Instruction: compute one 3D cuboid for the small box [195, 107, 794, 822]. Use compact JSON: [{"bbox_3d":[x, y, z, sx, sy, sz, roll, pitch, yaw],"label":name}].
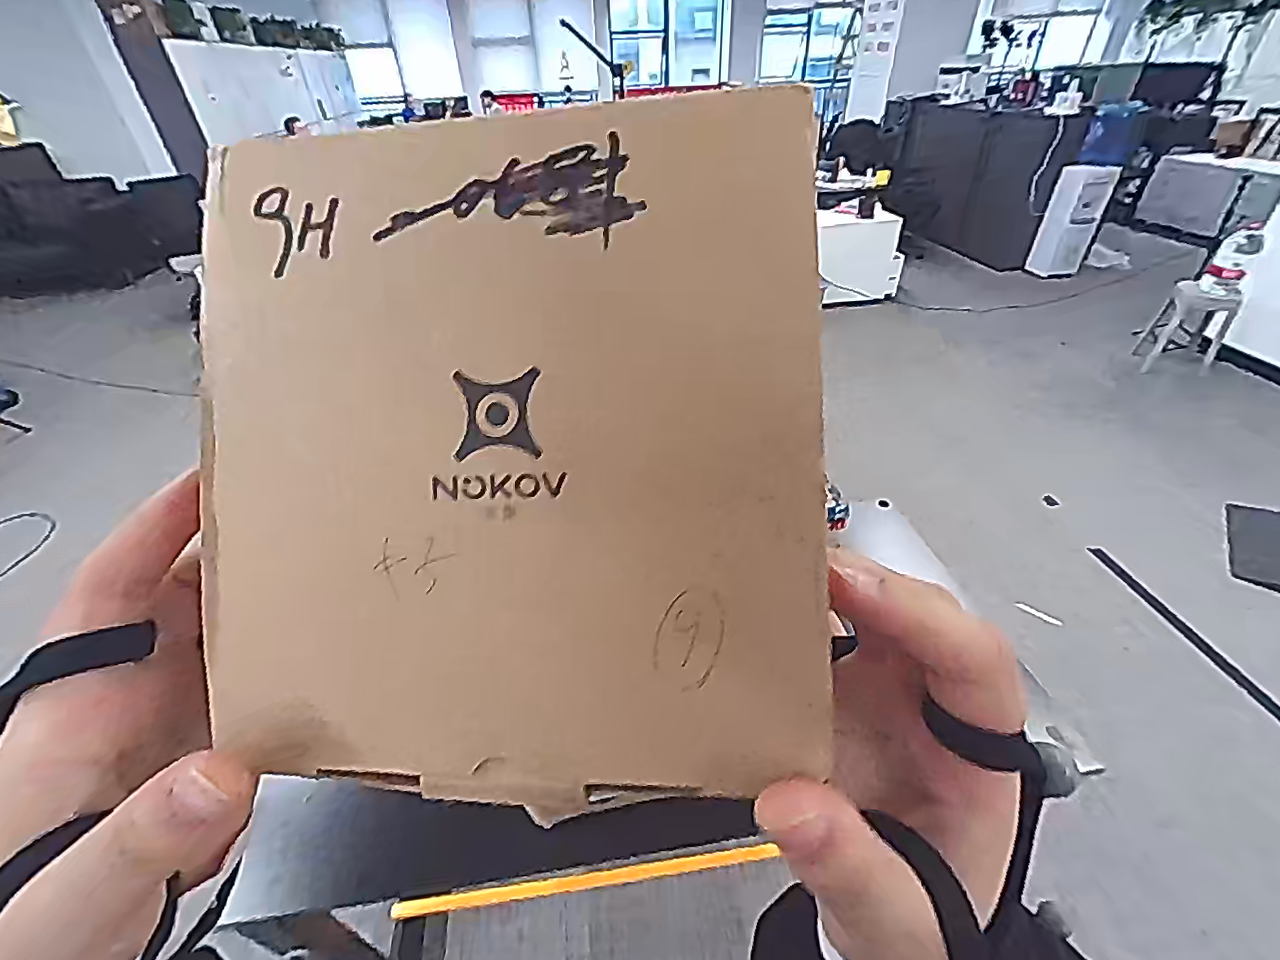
[{"bbox_3d":[-0.031,-0.003,0.221,0.168,0.179,0.176,-1,-1,8],"label":"small box"}]
